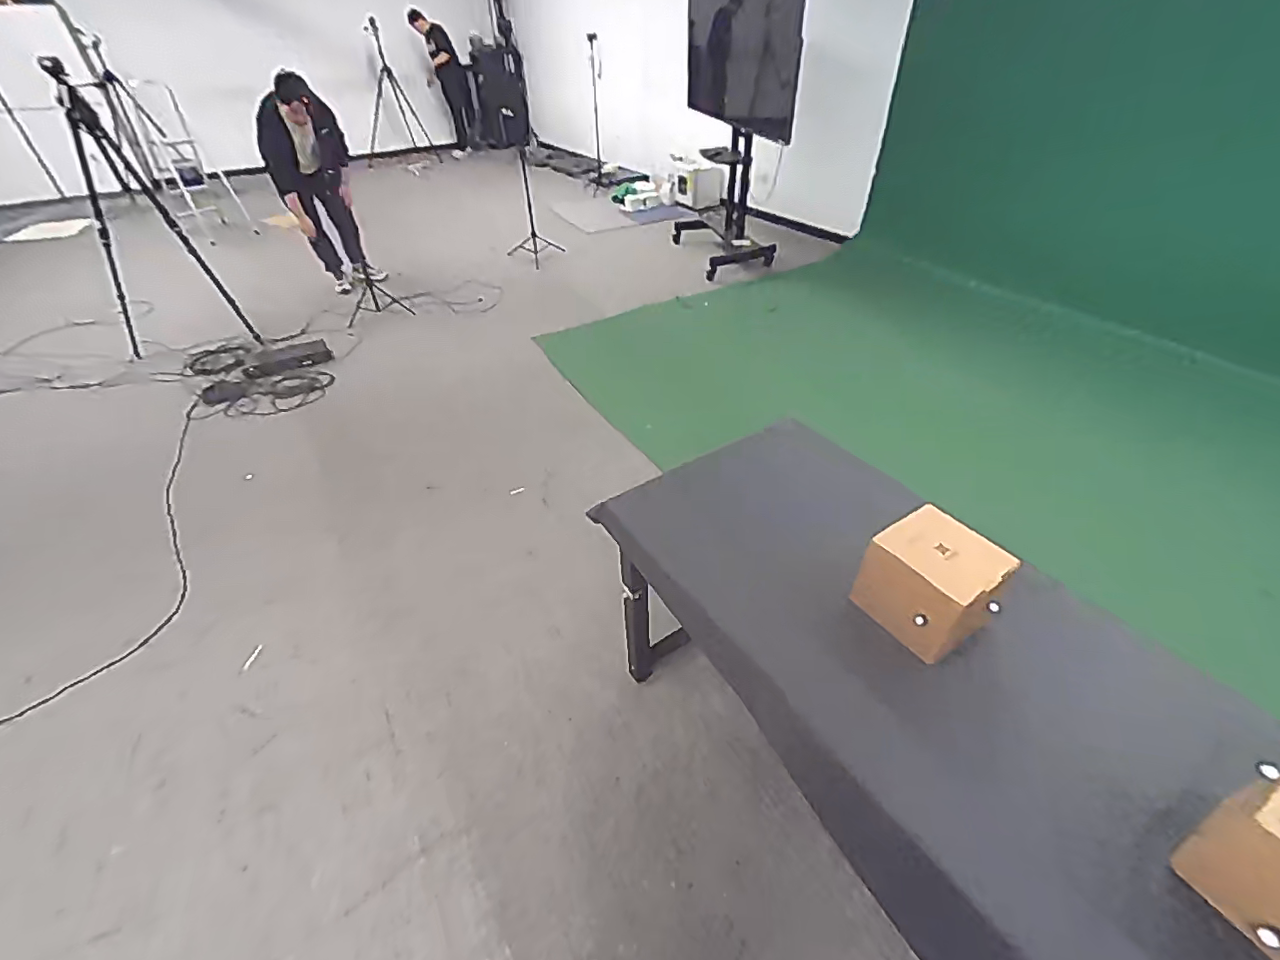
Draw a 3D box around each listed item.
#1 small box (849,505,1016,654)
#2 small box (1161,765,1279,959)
[{"bbox_3d":[0.509,0.182,0.963,0.168,0.176,0.179,-23,45,-26],"label":"small box"},{"bbox_3d":[0.793,0.463,0.633,0.168,0.176,0.179,-21,45,-21],"label":"small box"}]
